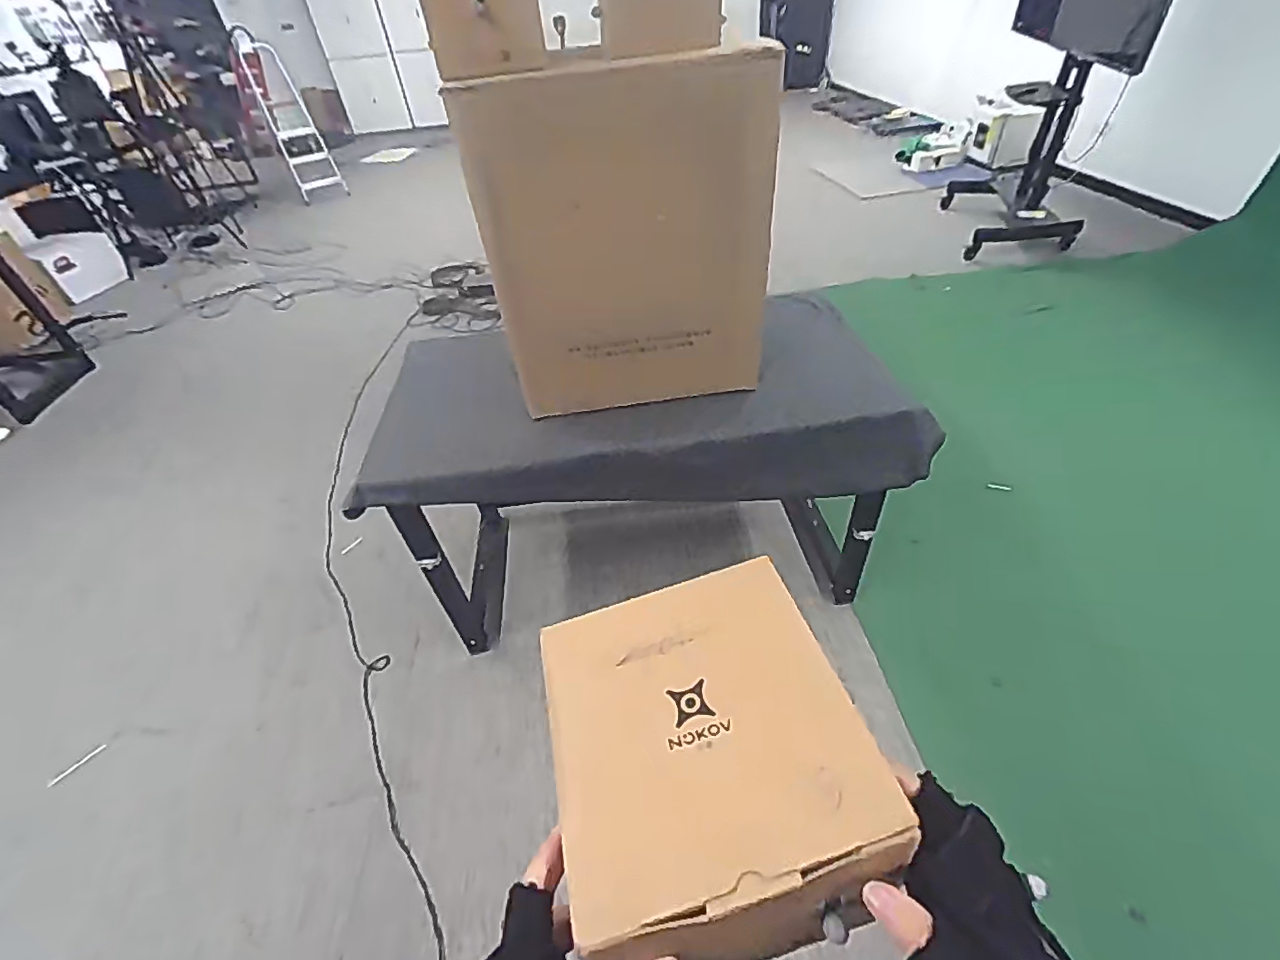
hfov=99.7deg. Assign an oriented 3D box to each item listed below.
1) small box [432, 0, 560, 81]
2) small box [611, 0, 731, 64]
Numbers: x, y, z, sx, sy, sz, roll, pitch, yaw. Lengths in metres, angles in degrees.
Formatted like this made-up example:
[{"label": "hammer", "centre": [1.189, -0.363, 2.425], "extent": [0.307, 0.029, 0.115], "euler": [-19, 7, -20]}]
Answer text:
[{"label": "small box", "centre": [-0.218, -0.729, 0.825], "extent": [0.168, 0.176, 0.179], "euler": [-8, 45, -2]}, {"label": "small box", "centre": [0.043, -0.768, 0.836], "extent": [0.179, 0.176, 0.168], "euler": [-8, 45, -1]}]
